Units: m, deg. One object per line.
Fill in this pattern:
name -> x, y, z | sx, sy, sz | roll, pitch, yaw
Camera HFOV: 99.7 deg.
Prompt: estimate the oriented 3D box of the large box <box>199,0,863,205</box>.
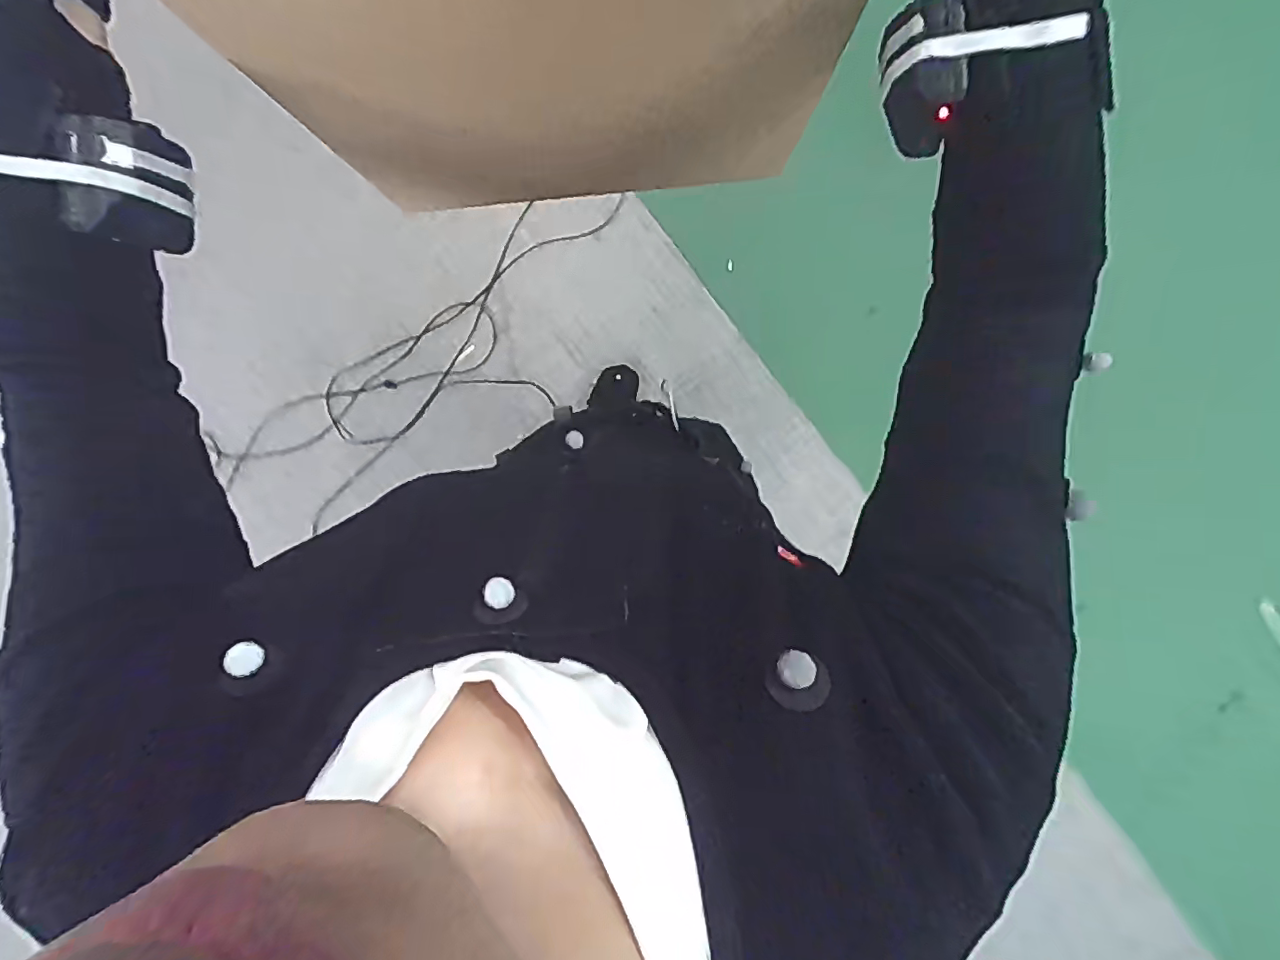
large box -> -0.065, -0.442, 0.407 | 0.408, 0.320, 0.320 | -4, 96, 1
